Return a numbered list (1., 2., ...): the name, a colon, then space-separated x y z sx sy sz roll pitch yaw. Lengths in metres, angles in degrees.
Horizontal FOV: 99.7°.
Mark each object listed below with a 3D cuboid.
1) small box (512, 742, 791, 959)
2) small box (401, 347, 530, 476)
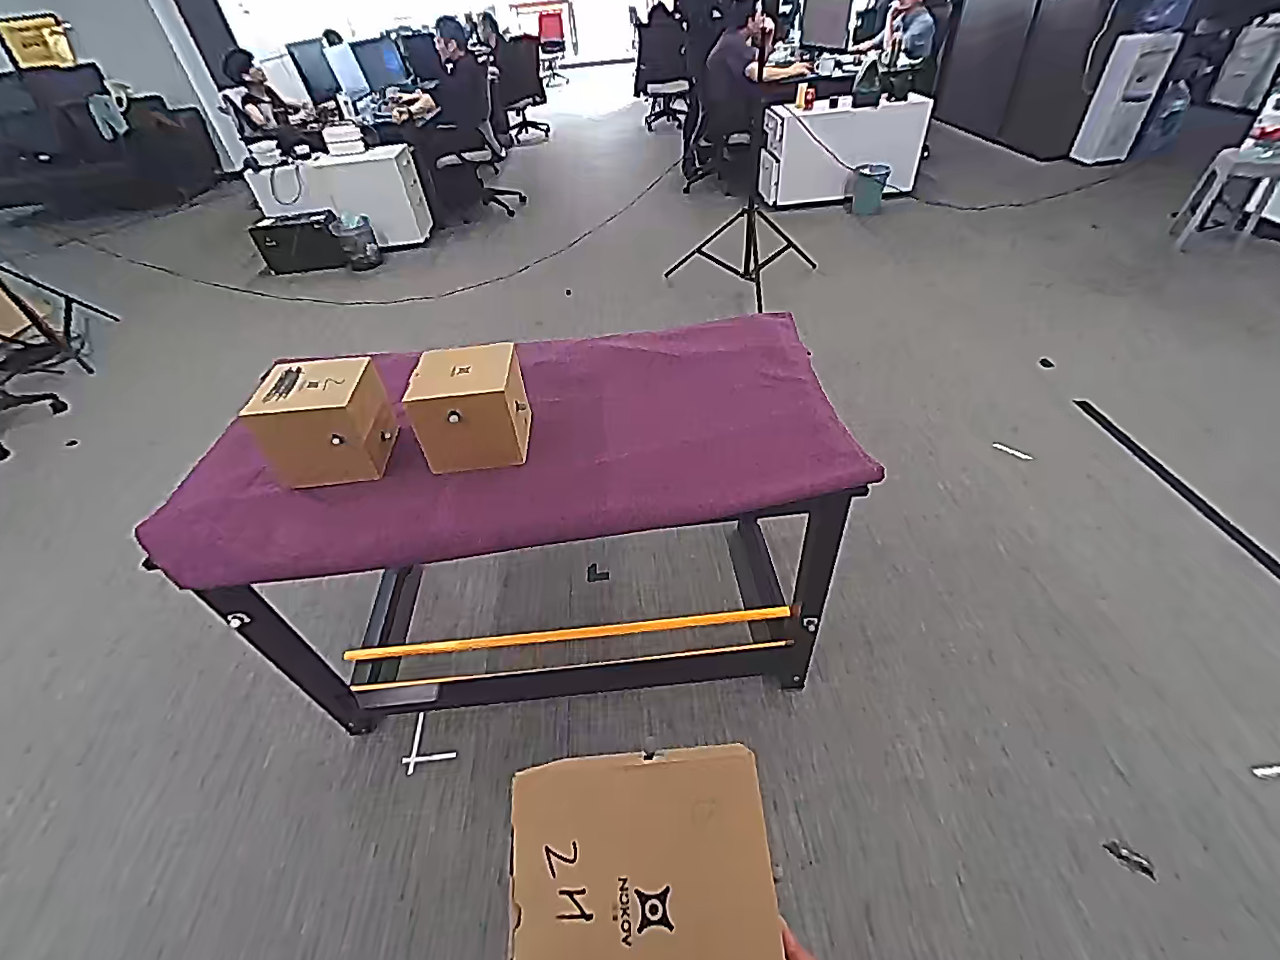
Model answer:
1. small box: 0.011 0.303 0.420 0.179 0.176 0.168 -7 65 4
2. small box: -0.310 -0.126 1.008 0.179 0.176 0.168 -7 43 0
